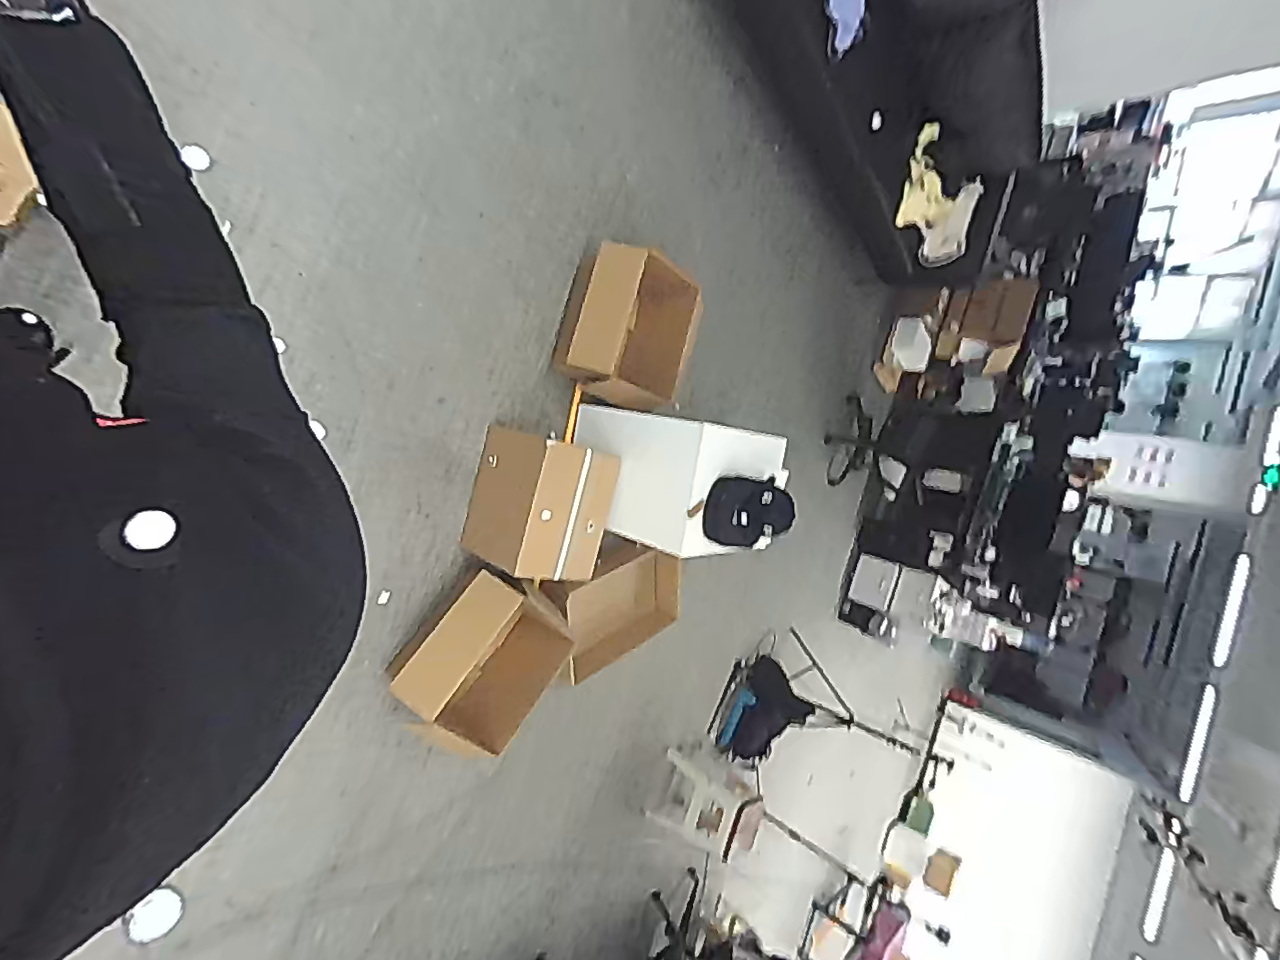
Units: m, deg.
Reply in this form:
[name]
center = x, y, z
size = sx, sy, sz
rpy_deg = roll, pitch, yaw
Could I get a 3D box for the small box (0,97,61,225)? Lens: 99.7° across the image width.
[small box]
center = -1.055, -0.520, 0.833
size = 0.179, 0.176, 0.168
rpy_deg = 34, 77, -48
